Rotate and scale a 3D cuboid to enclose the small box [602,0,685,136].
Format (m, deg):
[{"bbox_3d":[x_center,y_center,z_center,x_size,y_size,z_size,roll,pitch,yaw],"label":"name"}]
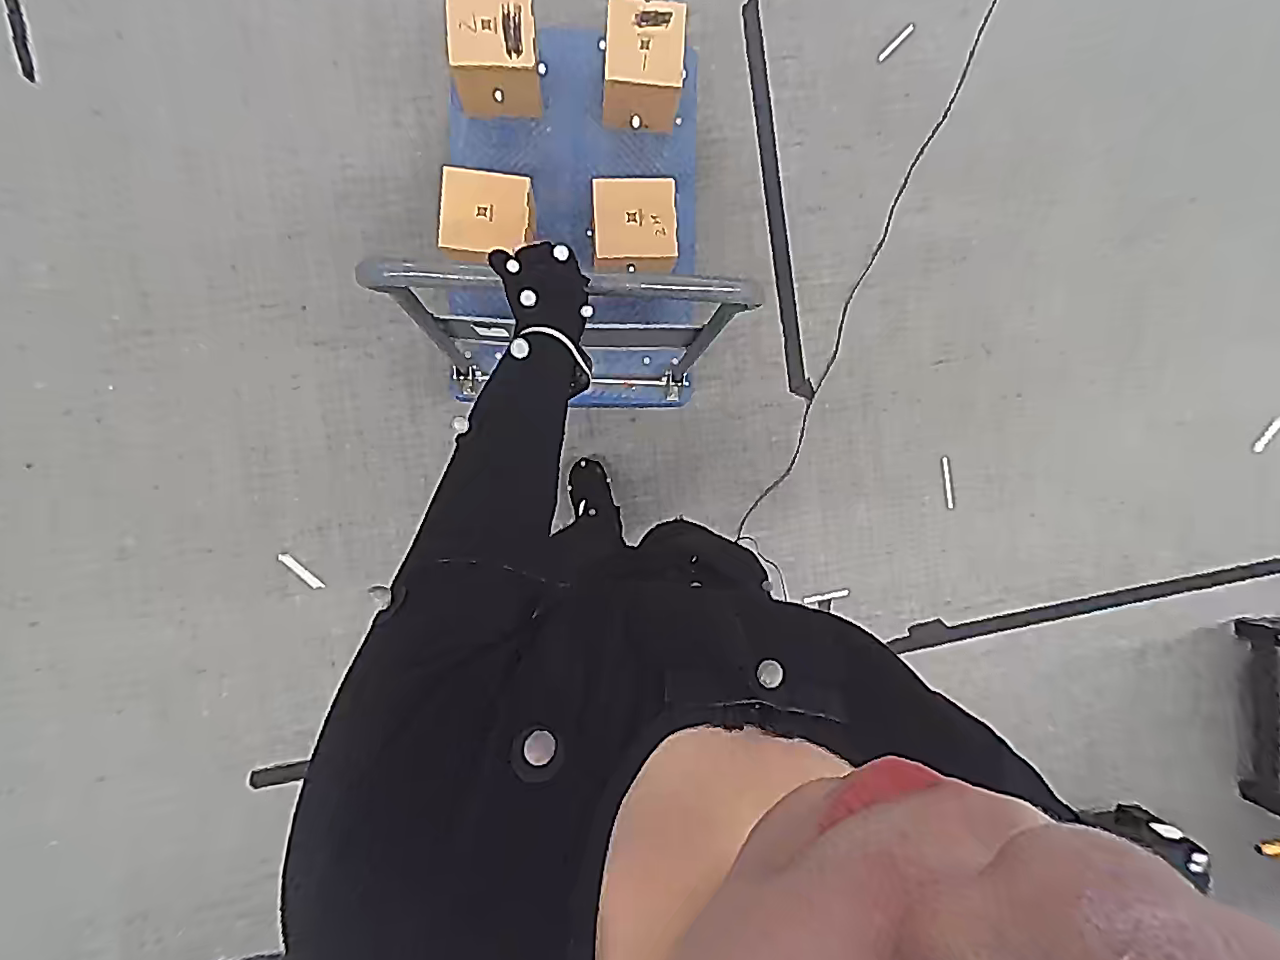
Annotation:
[{"bbox_3d":[0.002,-0.913,1.205,0.168,0.176,0.179,2,92,-6],"label":"small box"}]

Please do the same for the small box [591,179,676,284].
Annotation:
[{"bbox_3d":[-0.018,-0.547,1.211,0.179,0.176,0.168,-3,92,-6],"label":"small box"}]

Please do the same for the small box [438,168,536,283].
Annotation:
[{"bbox_3d":[-0.326,-0.544,1.180,0.179,0.176,0.168,4,90,-8],"label":"small box"}]
